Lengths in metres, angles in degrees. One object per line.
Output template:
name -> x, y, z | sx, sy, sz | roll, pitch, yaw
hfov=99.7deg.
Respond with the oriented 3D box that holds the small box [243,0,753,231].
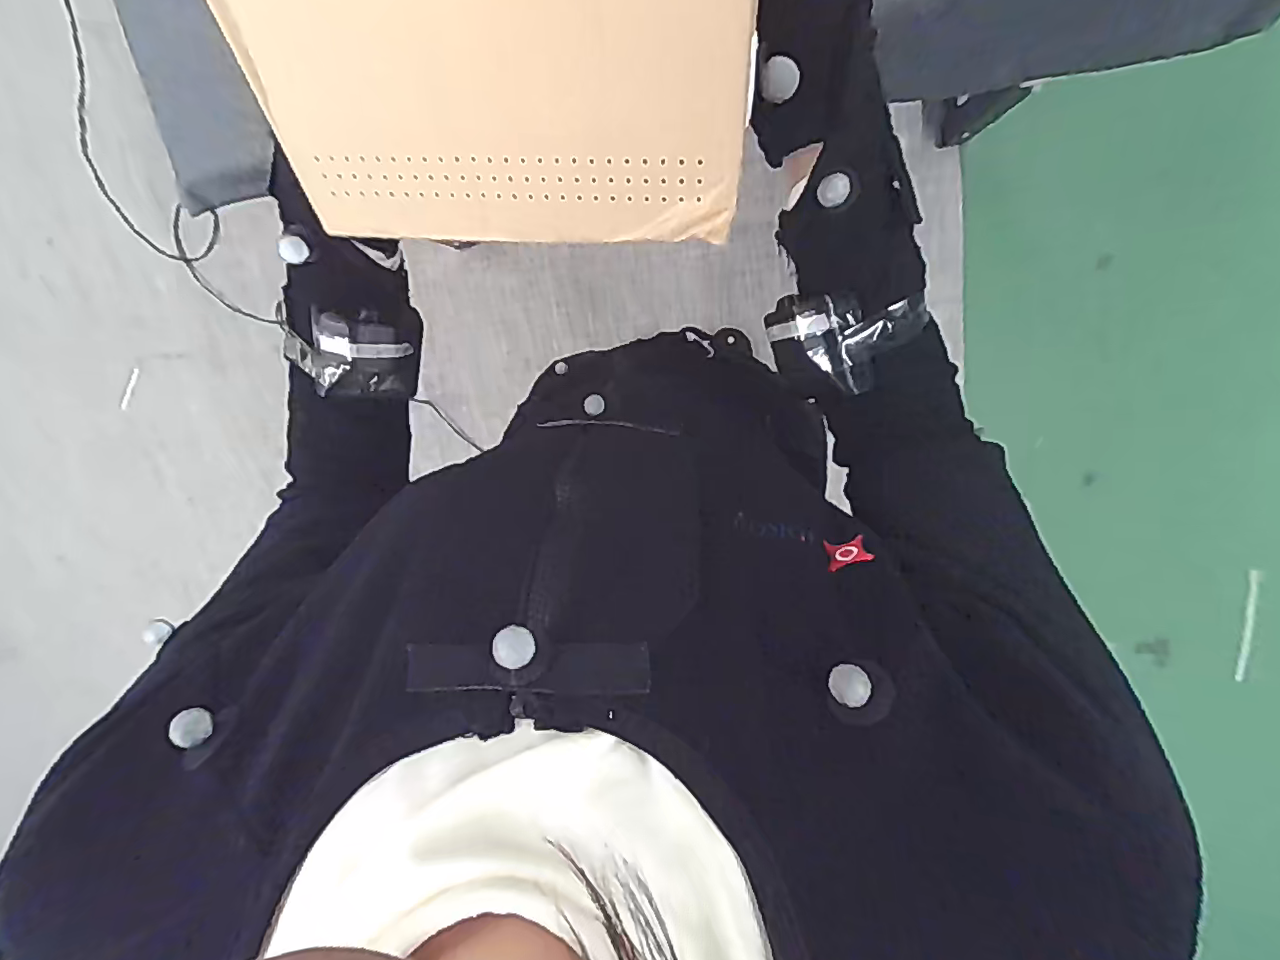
small box -> -0.043, -0.218, 0.213 | 0.179, 0.168, 0.176 | 6, 143, 7
